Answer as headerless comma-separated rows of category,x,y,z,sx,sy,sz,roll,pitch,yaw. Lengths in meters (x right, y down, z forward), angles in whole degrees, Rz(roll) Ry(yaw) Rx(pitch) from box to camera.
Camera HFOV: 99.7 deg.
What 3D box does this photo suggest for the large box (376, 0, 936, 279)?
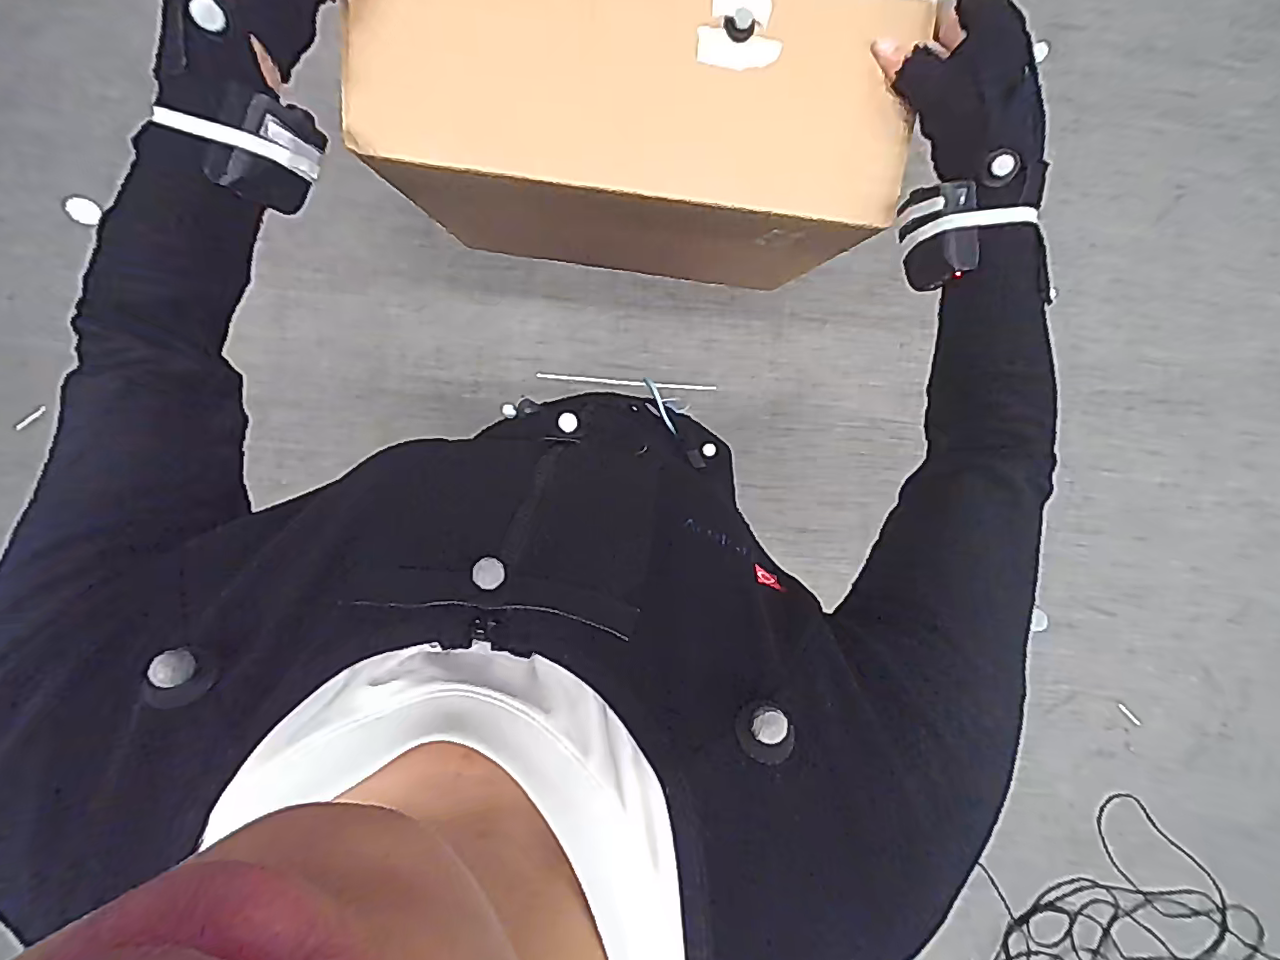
large box,0.010,-0.401,0.524,0.408,0.320,0.320,6,102,-5
